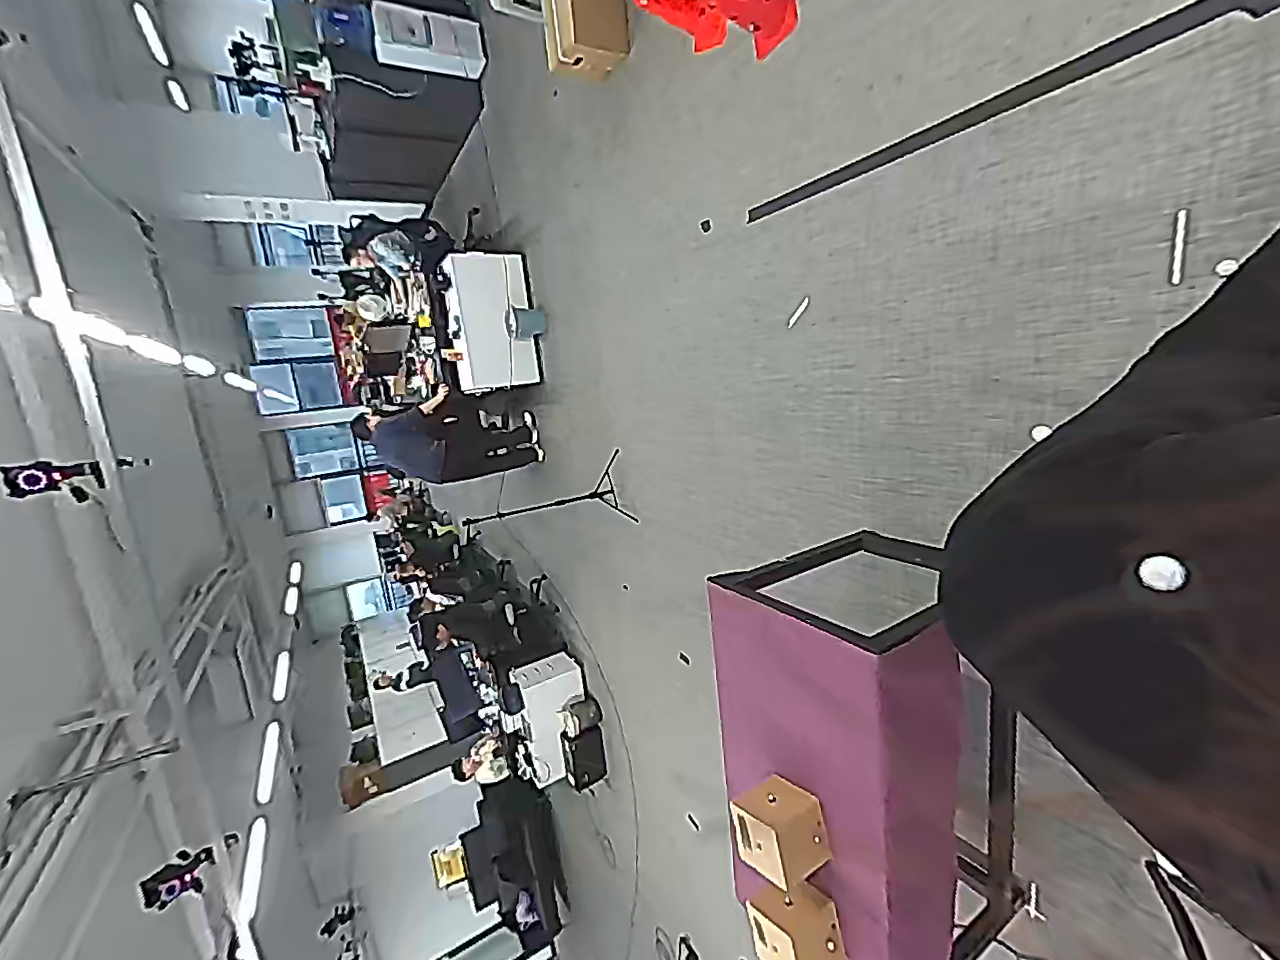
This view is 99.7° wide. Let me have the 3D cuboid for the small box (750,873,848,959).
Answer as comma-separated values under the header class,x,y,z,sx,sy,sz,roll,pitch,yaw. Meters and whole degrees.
class,x,y,z,sx,sy,sz,roll,pitch,yaw
small box,0.436,1.235,1.490,0.179,0.176,0.168,-14,89,61
